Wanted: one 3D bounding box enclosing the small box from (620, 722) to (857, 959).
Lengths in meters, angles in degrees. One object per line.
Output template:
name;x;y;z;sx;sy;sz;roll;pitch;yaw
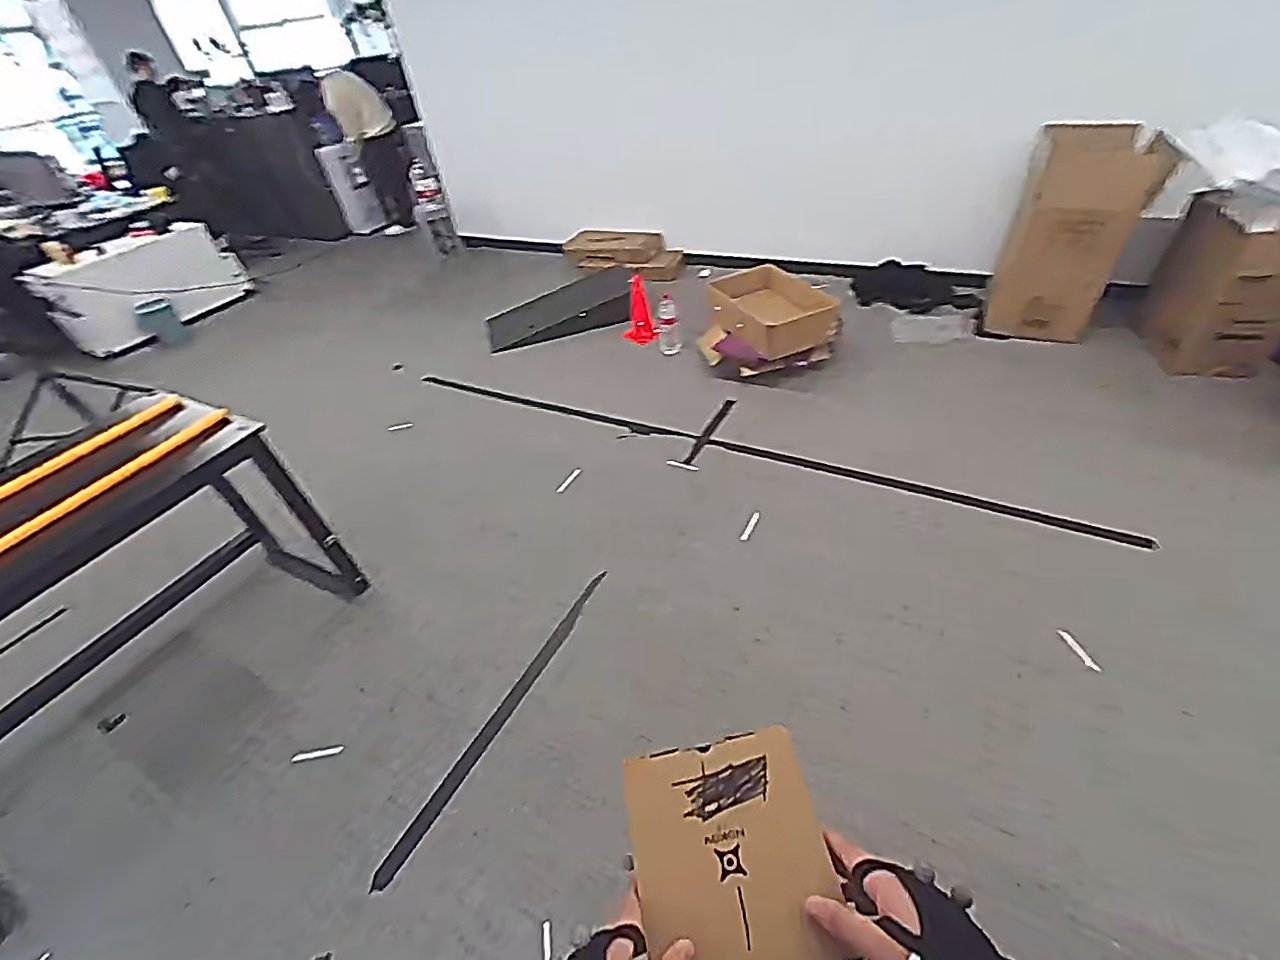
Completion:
small box;0.081;0.367;0.527;0.168;0.176;0.179;-12;49;-3
